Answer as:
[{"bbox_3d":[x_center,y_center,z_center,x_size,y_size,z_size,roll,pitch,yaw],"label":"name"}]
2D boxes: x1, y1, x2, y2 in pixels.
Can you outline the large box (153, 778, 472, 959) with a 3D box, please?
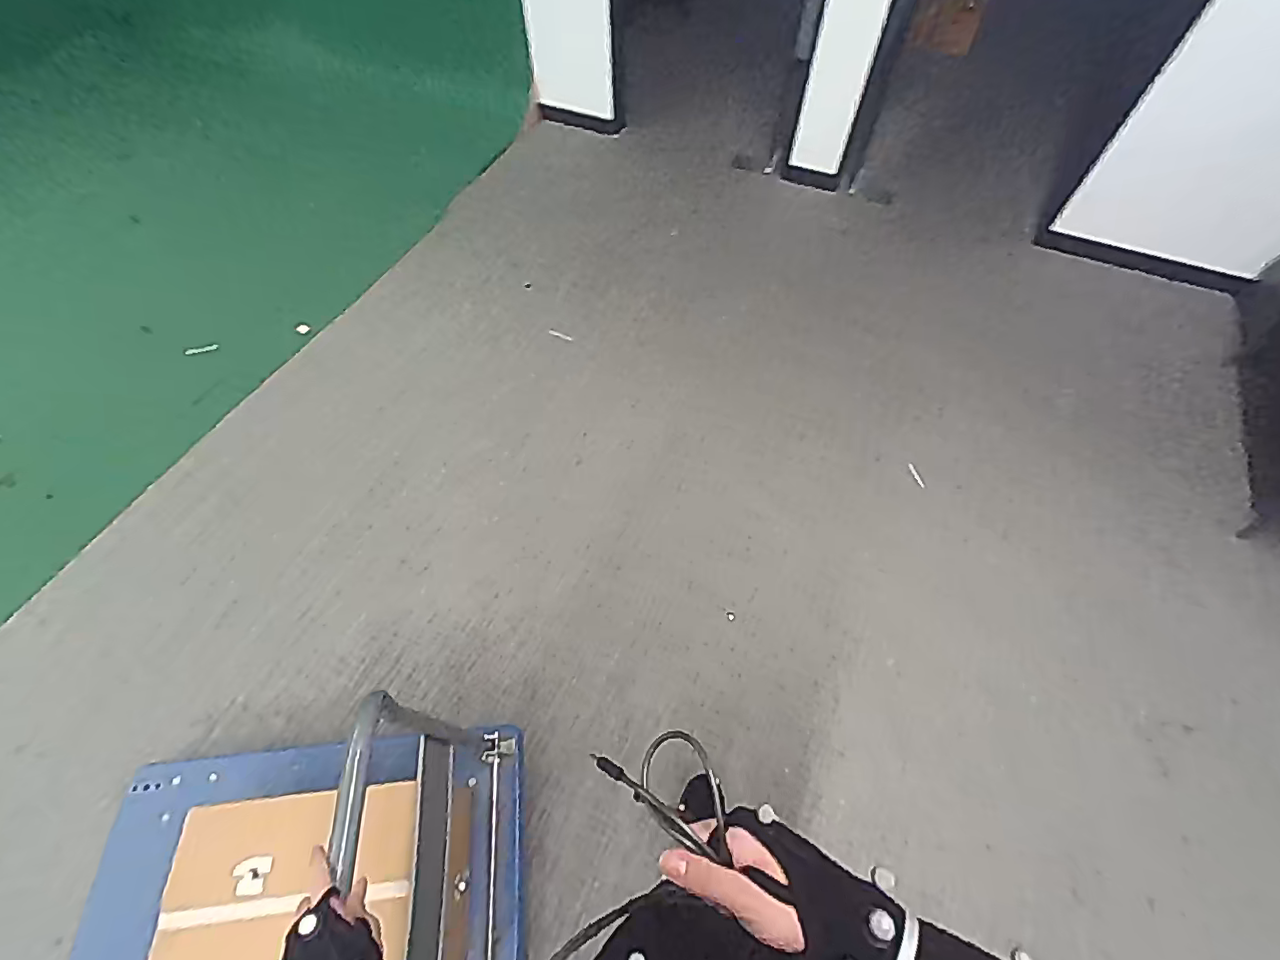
[{"bbox_3d":[-0.550,0.751,0.990,0.408,0.320,0.320,-6,59,-2],"label":"large box"}]
